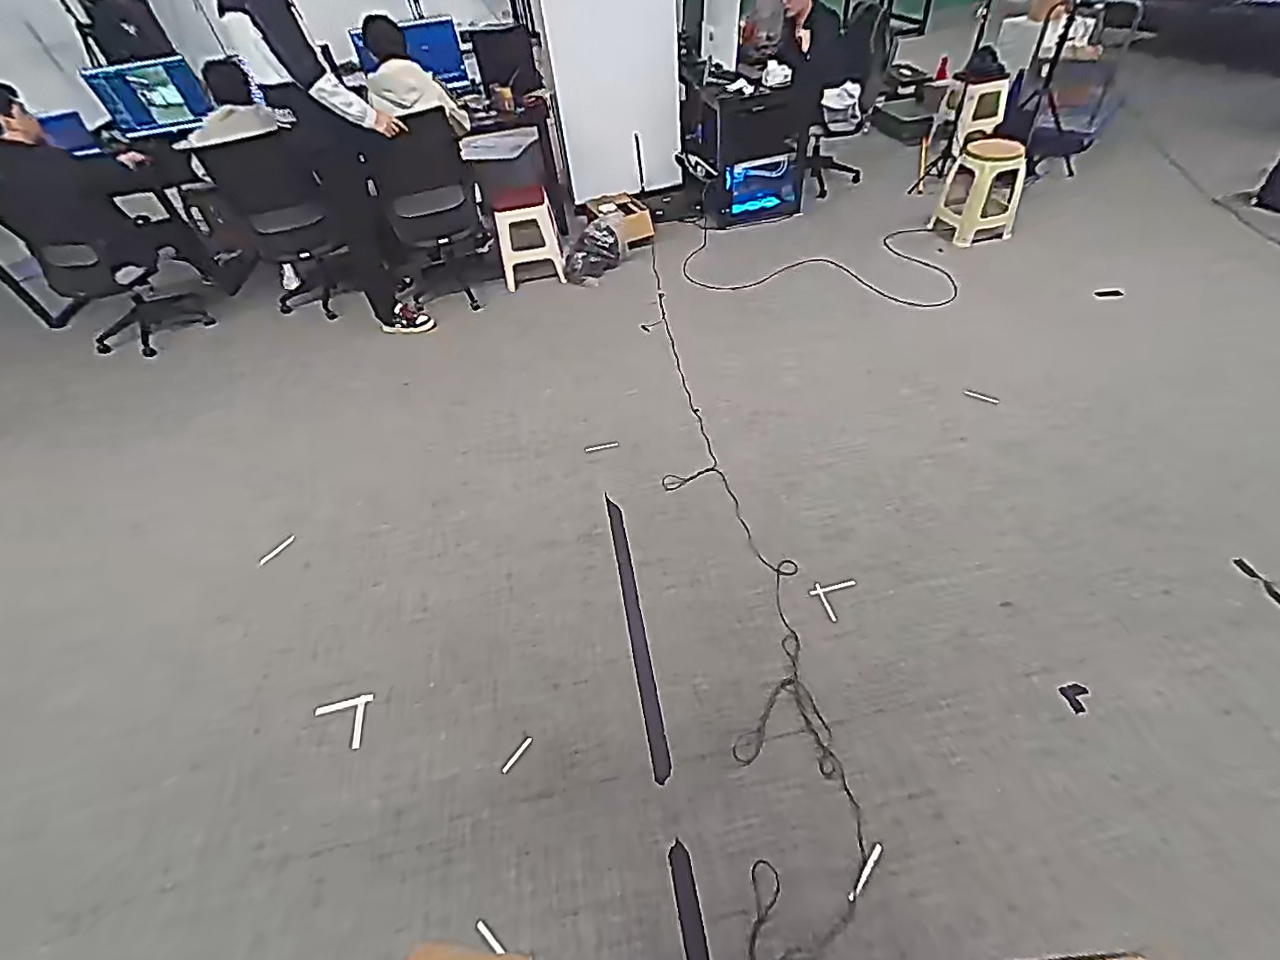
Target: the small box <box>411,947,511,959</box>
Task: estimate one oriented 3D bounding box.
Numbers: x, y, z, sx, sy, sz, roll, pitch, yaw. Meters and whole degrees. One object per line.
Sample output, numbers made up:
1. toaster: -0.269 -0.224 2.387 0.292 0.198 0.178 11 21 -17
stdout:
1. small box: -0.238 0.744 0.670 0.168 0.176 0.179 7 12 1
